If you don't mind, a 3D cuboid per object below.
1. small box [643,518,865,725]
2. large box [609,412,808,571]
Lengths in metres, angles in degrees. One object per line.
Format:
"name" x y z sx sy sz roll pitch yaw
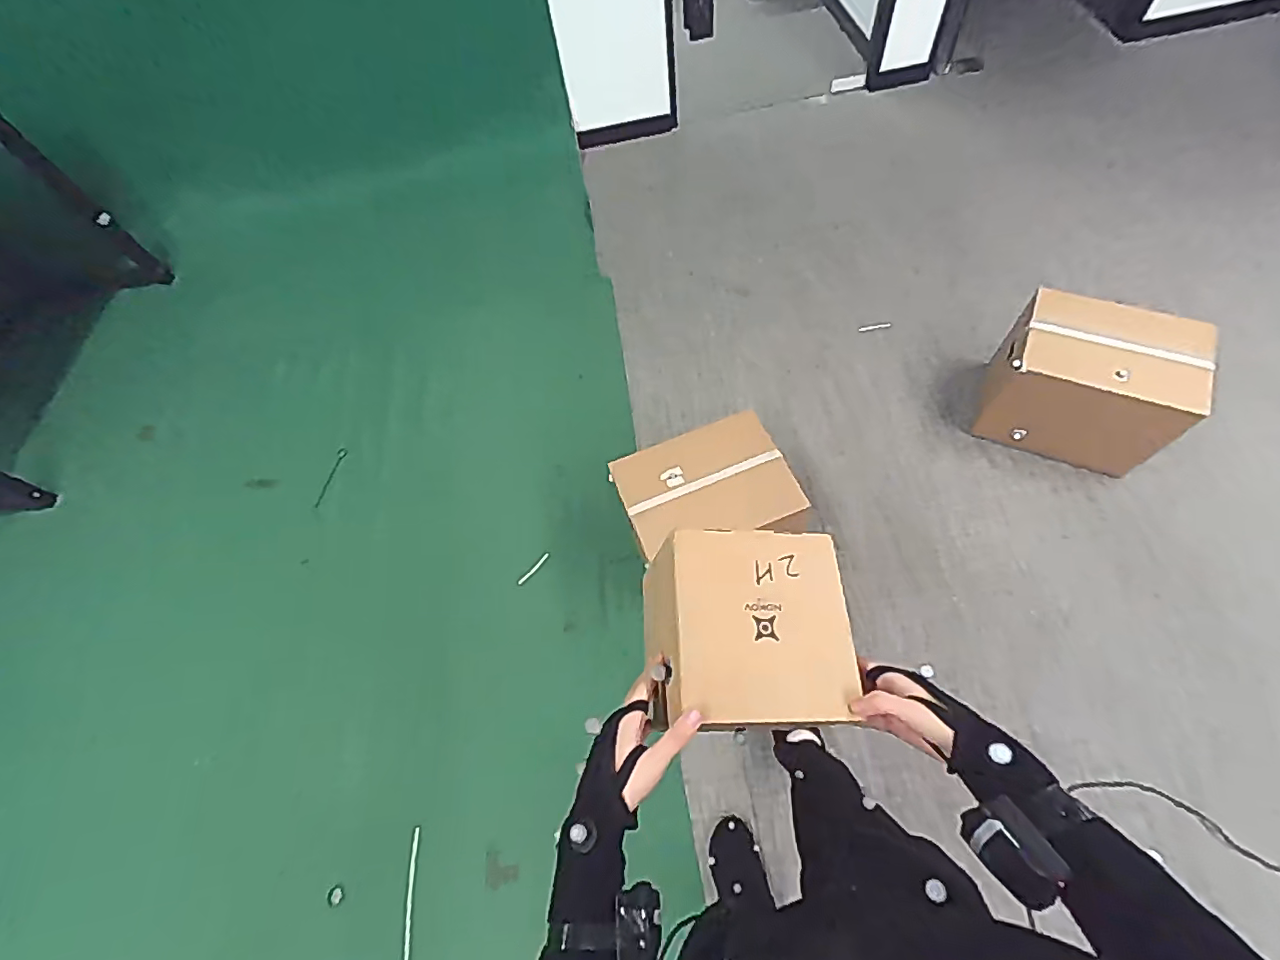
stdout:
"small box" 0.099 0.155 0.559 0.168 0.176 0.179 4 62 -10
"large box" 0.174 0.087 1.437 0.408 0.320 0.320 -22 60 -4
